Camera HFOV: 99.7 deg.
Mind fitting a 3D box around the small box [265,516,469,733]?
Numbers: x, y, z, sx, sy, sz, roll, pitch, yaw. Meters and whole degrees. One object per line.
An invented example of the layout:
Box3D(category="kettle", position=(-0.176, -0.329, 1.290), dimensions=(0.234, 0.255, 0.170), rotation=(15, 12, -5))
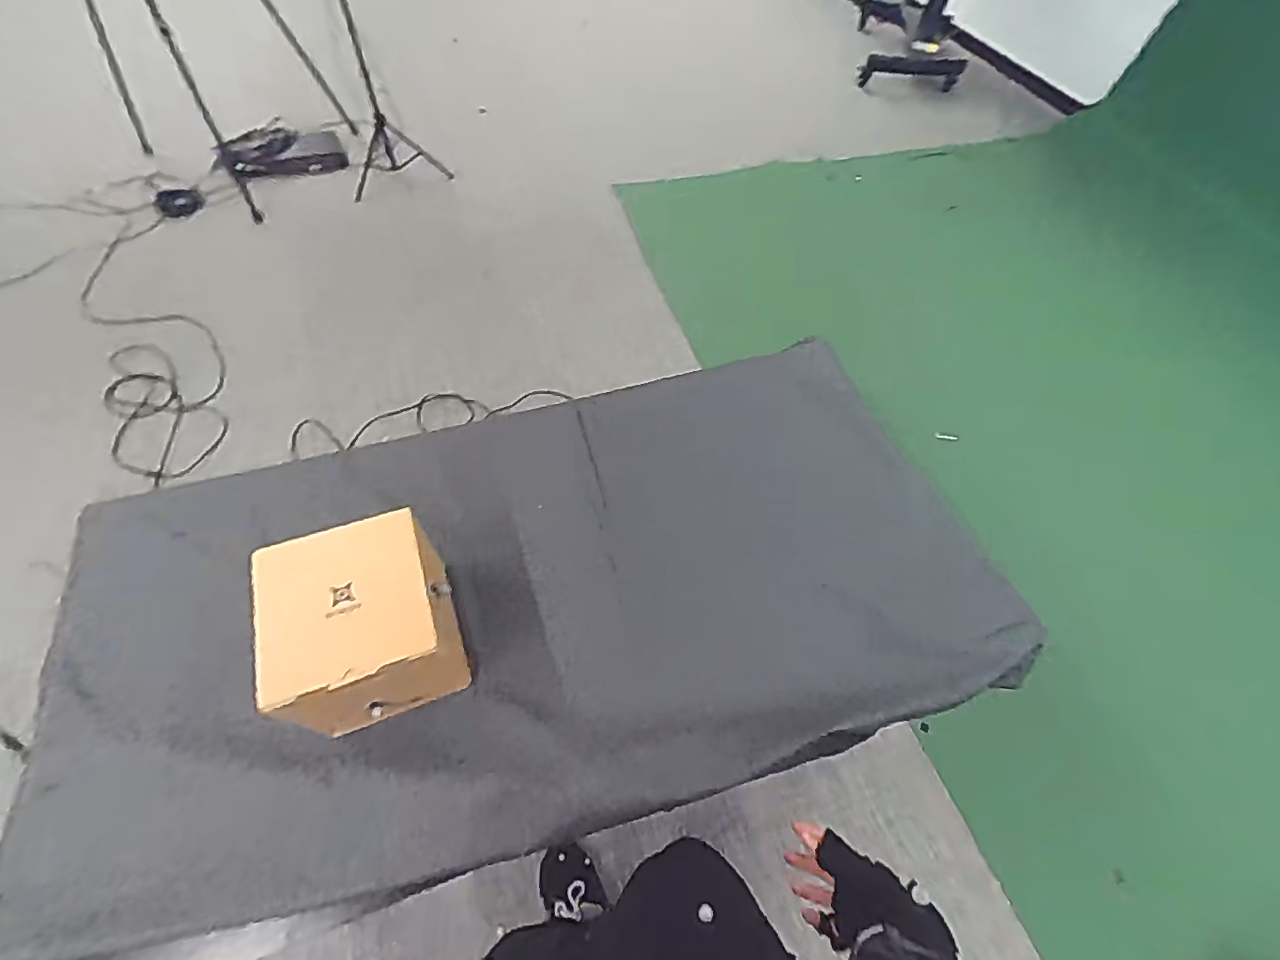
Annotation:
Box3D(category="small box", position=(-0.314, 0.174, 0.642), dimensions=(0.168, 0.176, 0.179), rotation=(-17, 61, -15))
